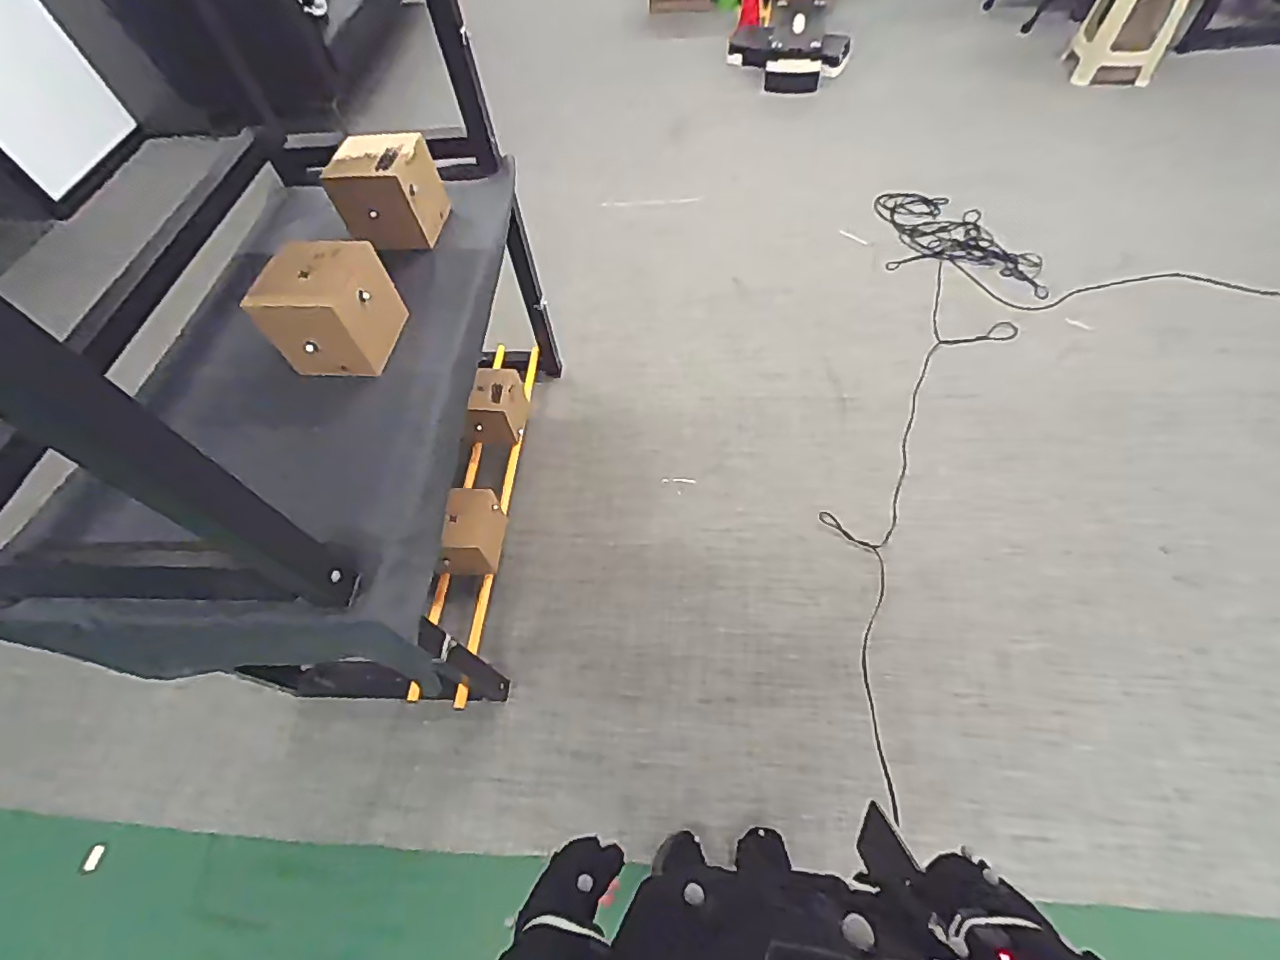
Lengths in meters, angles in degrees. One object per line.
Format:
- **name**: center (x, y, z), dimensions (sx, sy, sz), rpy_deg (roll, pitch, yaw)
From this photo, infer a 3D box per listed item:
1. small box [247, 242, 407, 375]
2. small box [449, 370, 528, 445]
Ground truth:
- **small box**: center (-0.559, -0.312, 0.998), dimensions (0.168, 0.176, 0.179), rpy_deg (3, 58, 6)
- **small box**: center (-0.458, -0.220, 1.671), dimensions (0.179, 0.176, 0.168), rpy_deg (3, 58, 6)
